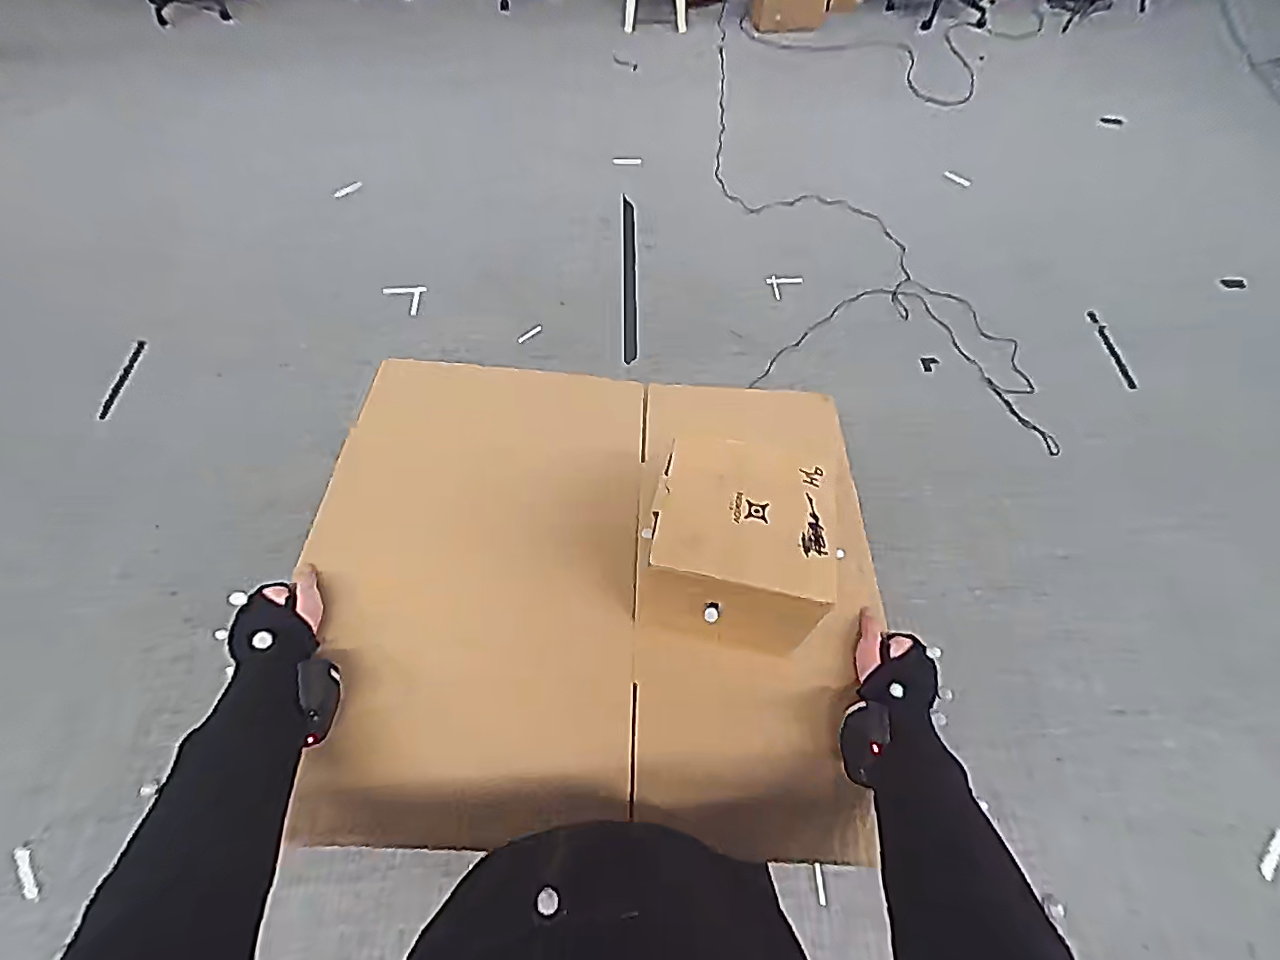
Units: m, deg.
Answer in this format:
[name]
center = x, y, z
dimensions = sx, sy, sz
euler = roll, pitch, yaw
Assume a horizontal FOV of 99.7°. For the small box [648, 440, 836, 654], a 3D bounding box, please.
[small box]
center = 0.108, 0.080, 0.609
dimensions = 0.179, 0.176, 0.168
euler = 10, 56, 6
